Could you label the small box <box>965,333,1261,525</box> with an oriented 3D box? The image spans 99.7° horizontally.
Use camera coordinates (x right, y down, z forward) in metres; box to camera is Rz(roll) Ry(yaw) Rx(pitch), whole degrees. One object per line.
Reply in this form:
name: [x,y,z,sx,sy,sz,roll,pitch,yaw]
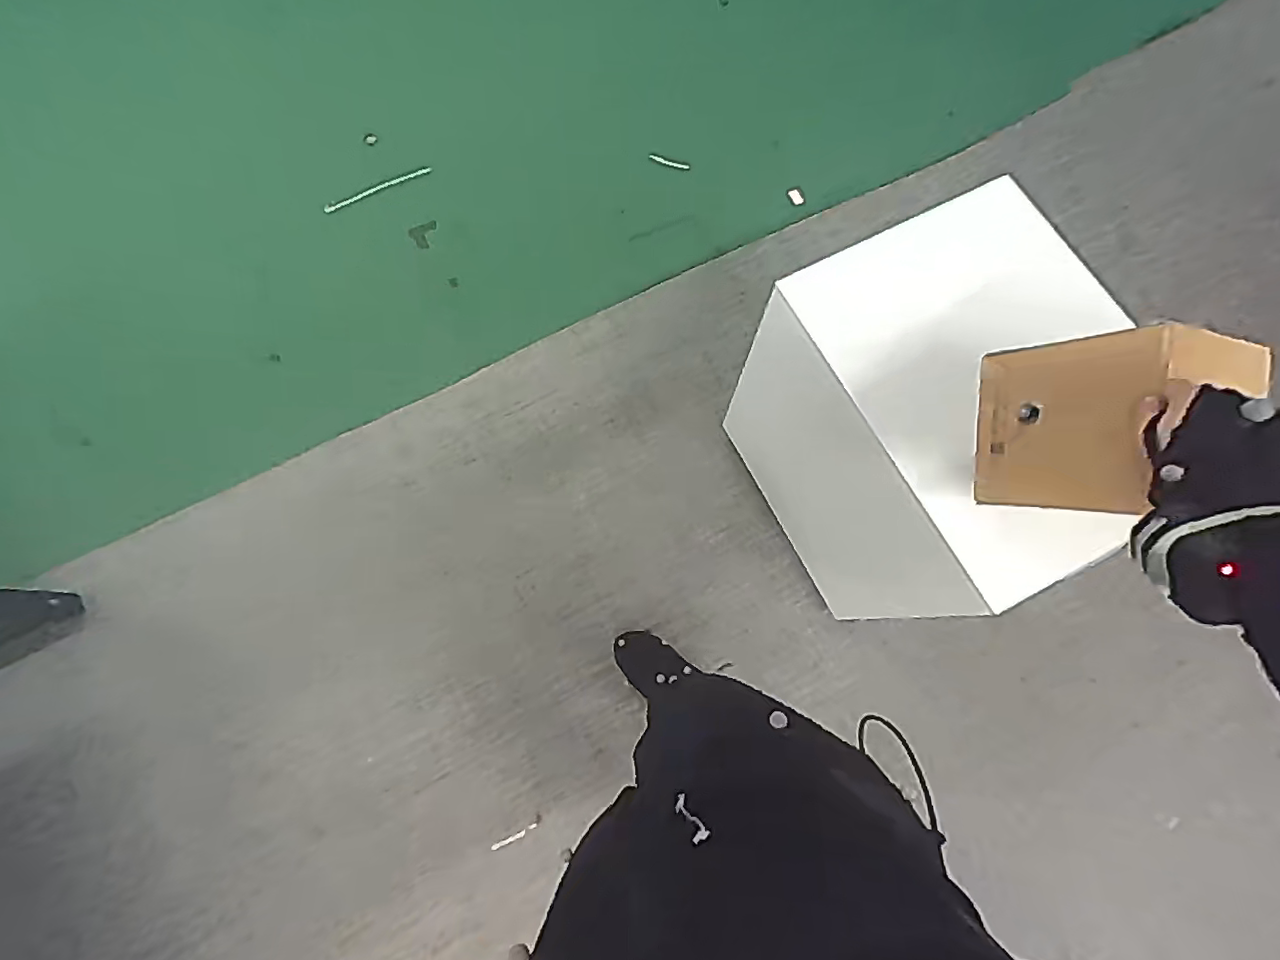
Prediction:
small box: [0.478,-0.043,0.561,0.179,0.176,0.168,1,90,-21]
